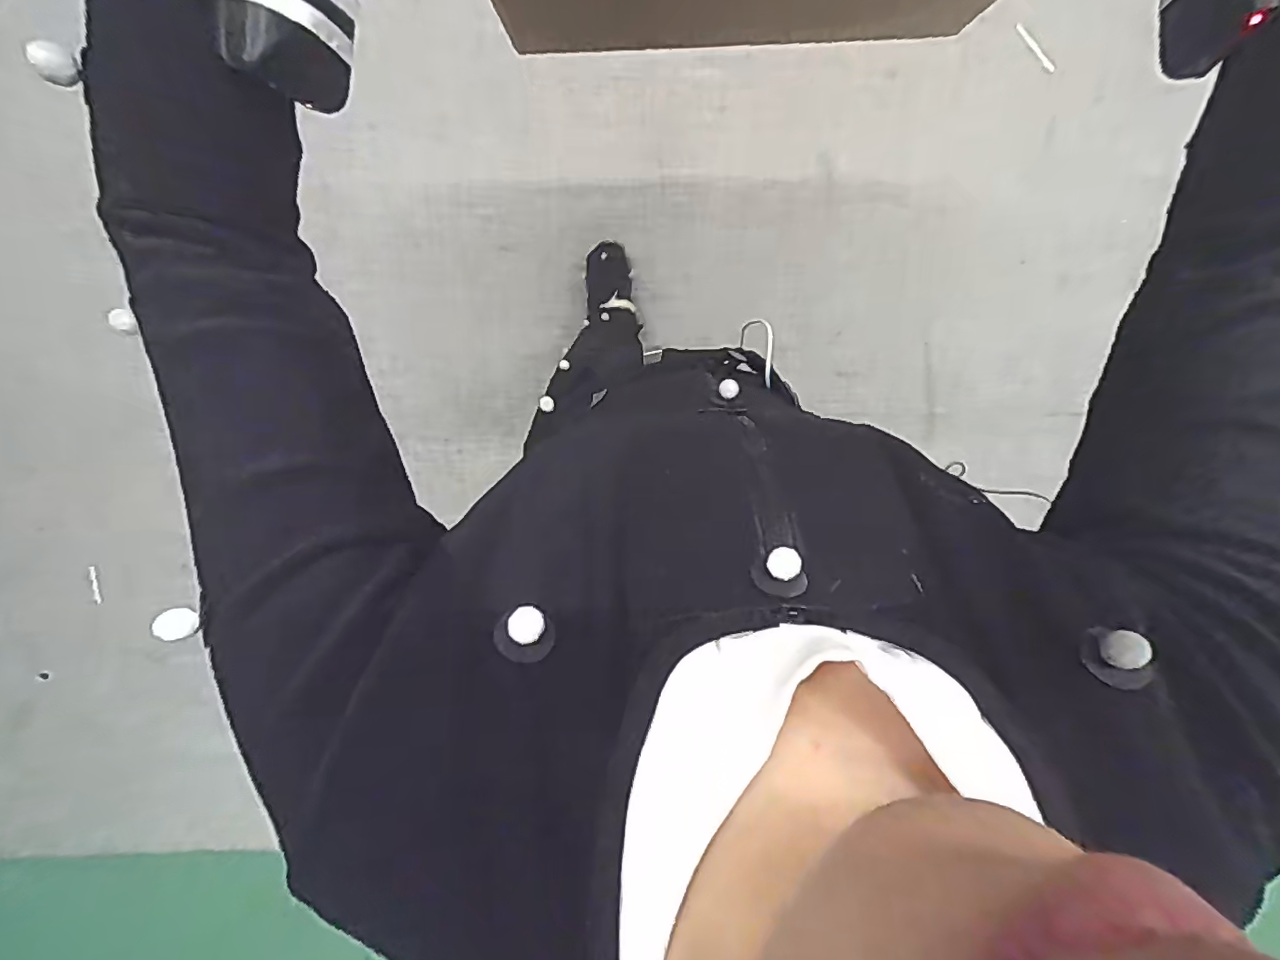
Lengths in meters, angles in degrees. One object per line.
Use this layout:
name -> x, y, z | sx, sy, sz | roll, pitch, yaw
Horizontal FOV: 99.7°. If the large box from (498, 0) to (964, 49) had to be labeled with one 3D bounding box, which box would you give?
large box -> 0.076, -0.503, 0.305 | 0.408, 0.320, 0.320 | -3, 109, 0
